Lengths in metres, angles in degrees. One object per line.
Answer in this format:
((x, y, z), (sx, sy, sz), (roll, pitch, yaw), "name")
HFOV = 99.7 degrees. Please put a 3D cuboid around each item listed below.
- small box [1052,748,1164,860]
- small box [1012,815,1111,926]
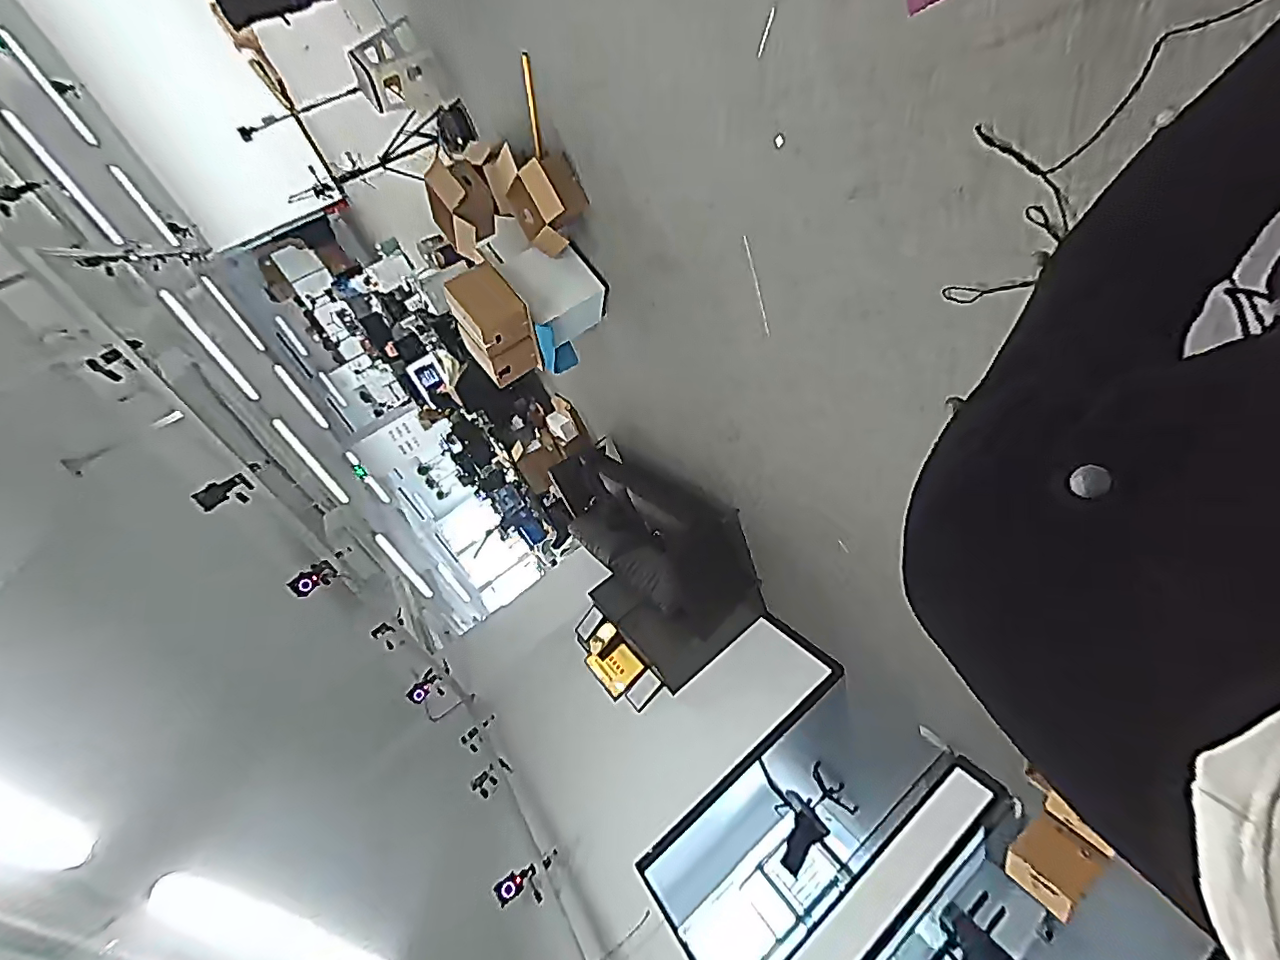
((1.271, 0.873, 1.470), (0.168, 0.176, 0.179), (36, 156, 49), "small box")
((1.212, 1.117, 1.558), (0.168, 0.176, 0.179), (34, 152, 52), "small box")
